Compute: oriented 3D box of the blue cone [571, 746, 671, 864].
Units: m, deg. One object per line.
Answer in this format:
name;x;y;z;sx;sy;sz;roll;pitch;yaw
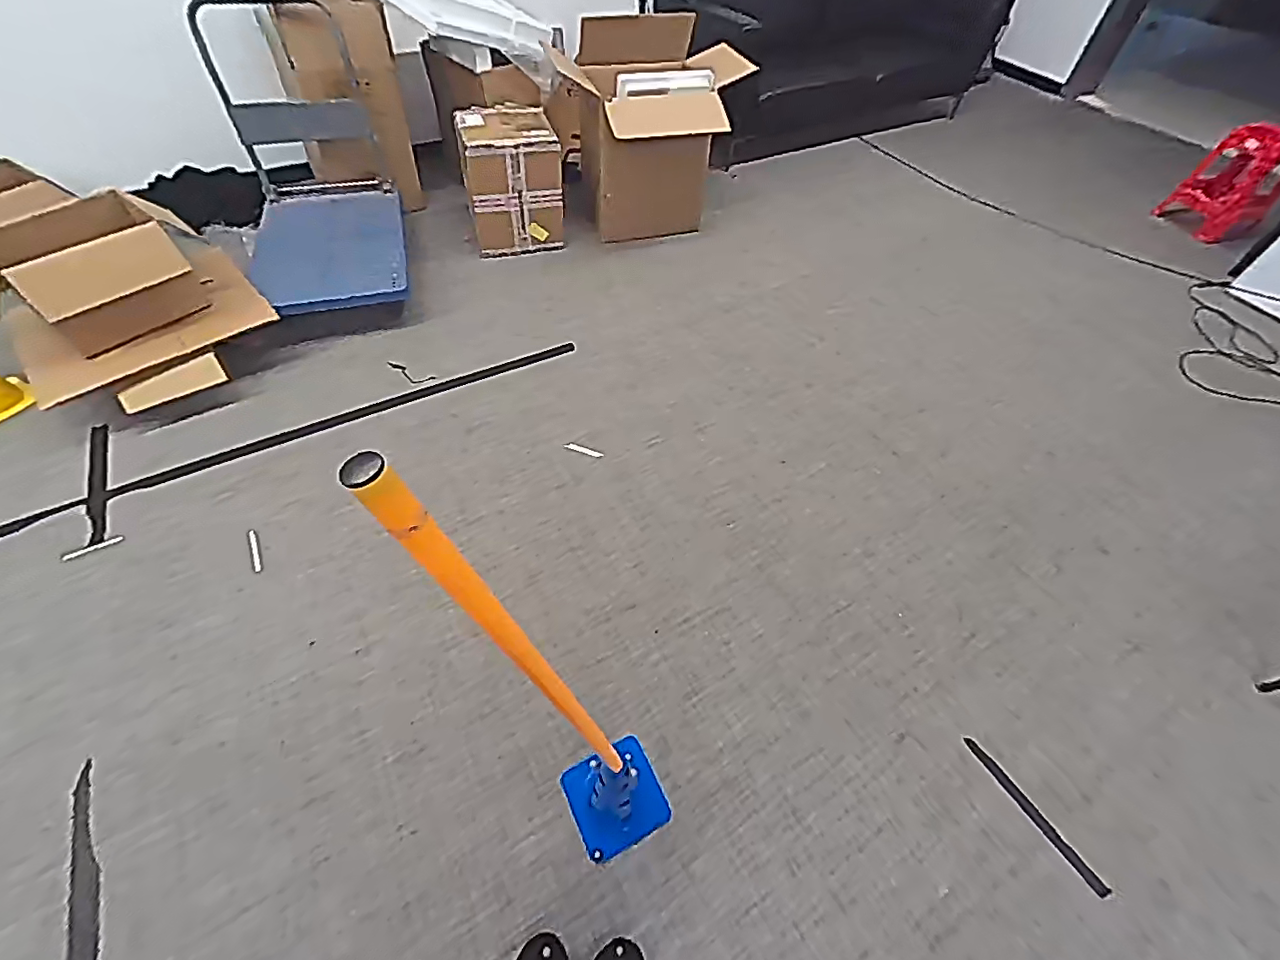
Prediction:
blue cone;-0.038;0.621;1.088;0.193;0.380;0.192;-20;56;-18
